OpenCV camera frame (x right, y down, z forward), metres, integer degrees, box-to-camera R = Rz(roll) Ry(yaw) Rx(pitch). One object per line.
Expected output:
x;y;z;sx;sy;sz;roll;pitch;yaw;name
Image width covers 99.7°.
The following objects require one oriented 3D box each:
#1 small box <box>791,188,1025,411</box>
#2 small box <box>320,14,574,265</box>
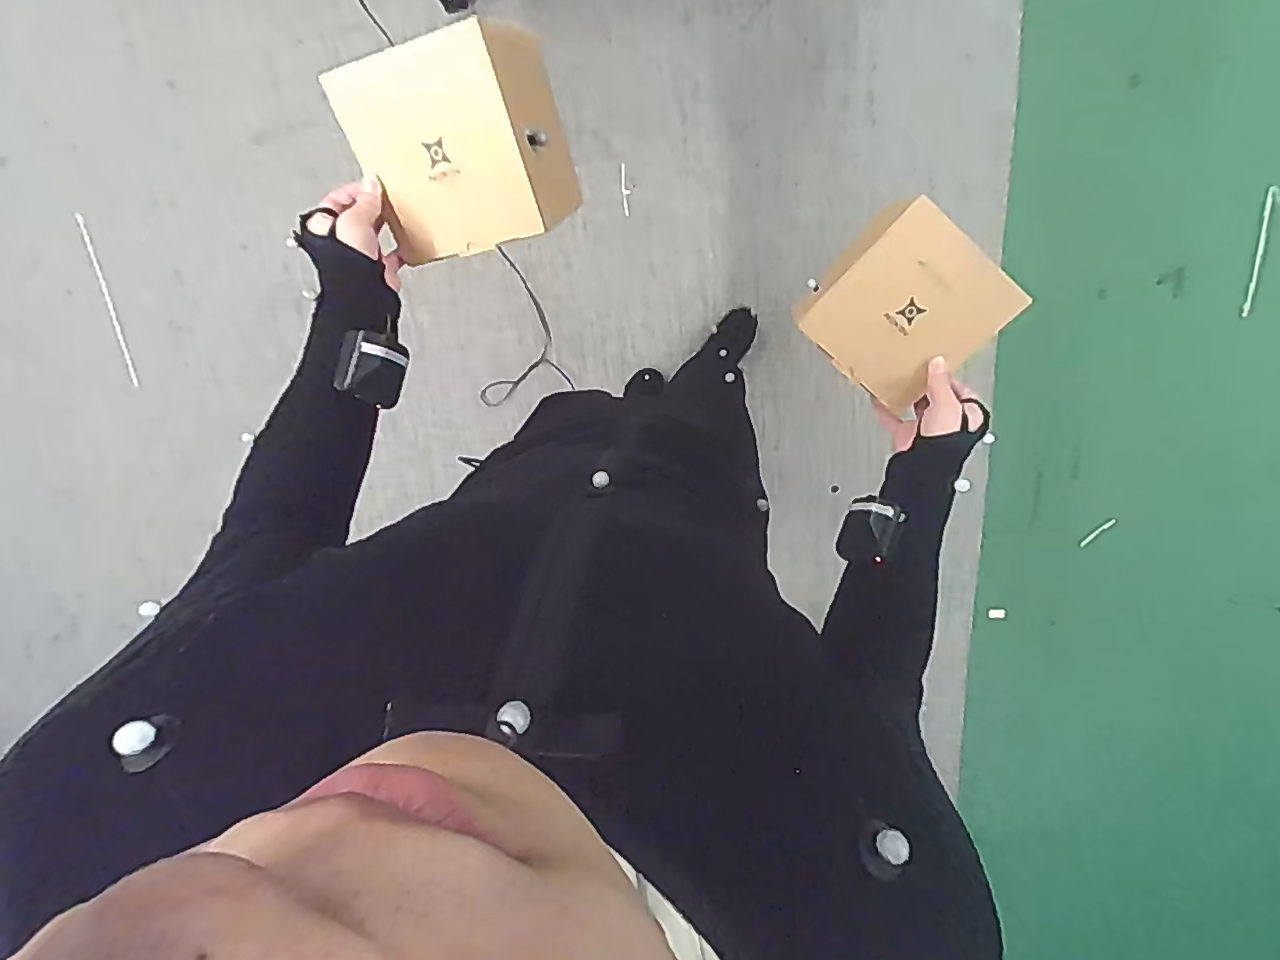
0.304;-0.218;0.657;0.168;0.176;0.179;40;116;-6;small box
-0.186;-0.358;0.583;0.168;0.176;0.179;-9;125;15;small box
